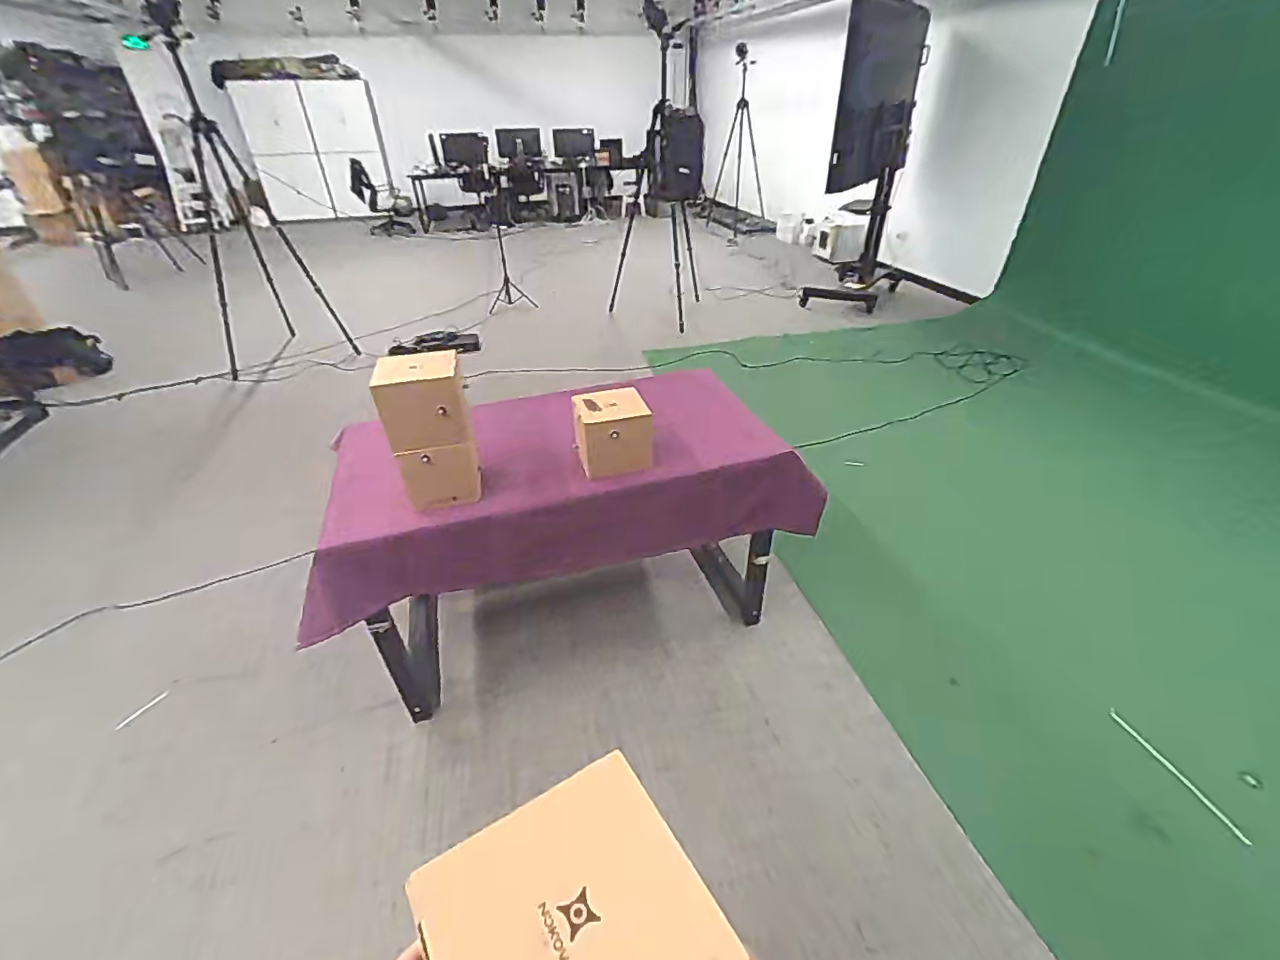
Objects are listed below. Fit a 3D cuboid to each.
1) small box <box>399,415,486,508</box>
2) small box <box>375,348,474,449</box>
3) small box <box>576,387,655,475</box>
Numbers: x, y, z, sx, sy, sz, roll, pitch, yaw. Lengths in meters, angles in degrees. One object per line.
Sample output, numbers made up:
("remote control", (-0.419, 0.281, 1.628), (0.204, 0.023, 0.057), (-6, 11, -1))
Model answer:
("small box", (-0.484, -0.054, 1.347), (0.168, 0.176, 0.179), (-10, 35, -11))
("small box", (-0.487, -0.188, 1.252), (0.179, 0.176, 0.168), (-9, 36, -10))
("small box", (-0.064, -0.129, 1.436), (0.179, 0.176, 0.168), (-10, 36, -13))
